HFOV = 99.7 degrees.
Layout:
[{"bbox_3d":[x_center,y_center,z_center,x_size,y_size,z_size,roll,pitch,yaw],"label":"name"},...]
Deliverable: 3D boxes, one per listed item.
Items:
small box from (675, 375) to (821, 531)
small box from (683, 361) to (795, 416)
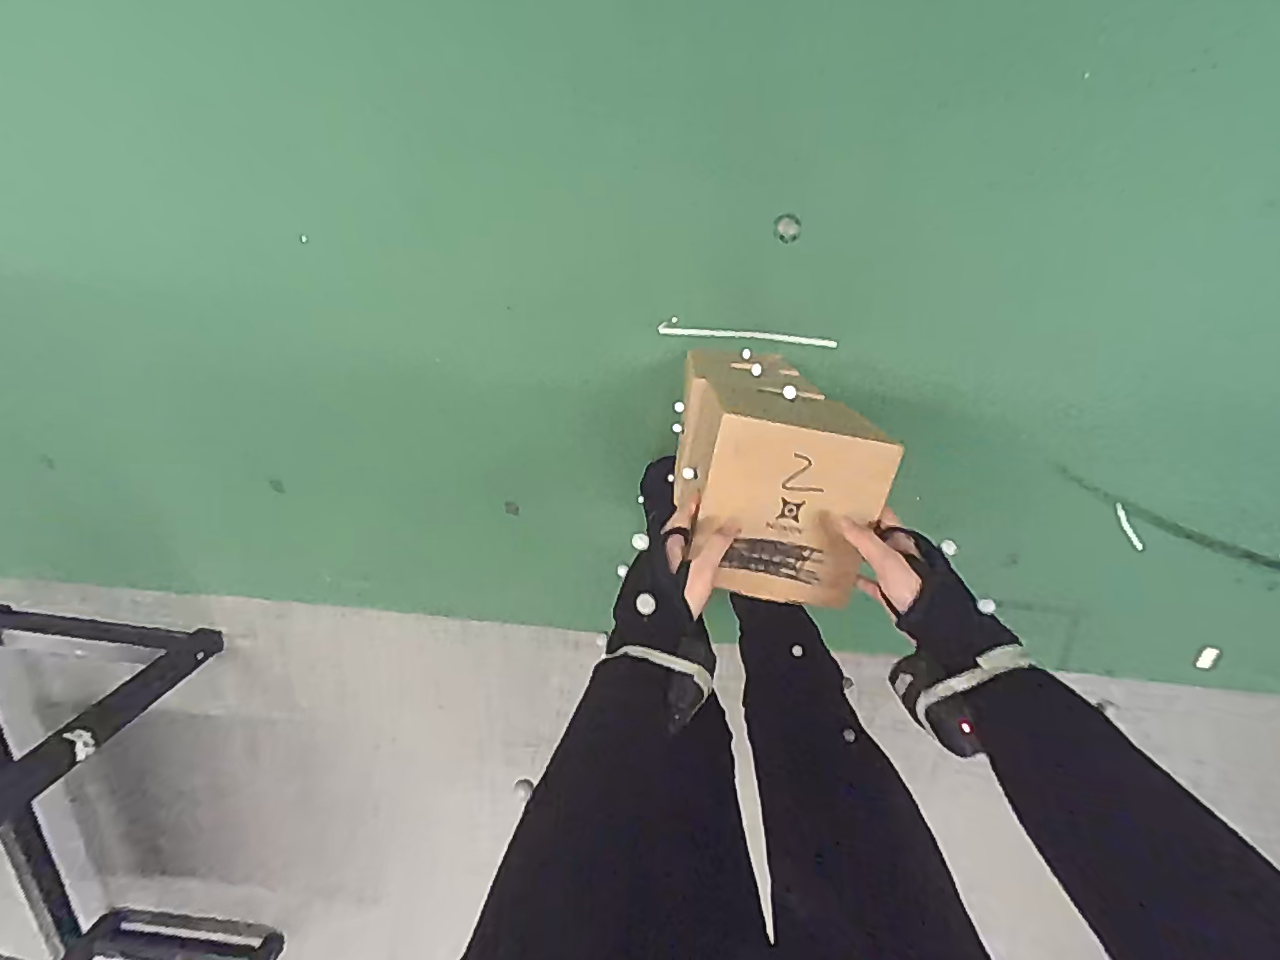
[{"bbox_3d":[0.142,-0.048,0.775,0.168,0.176,0.179,7,110,3],"label":"small box"},{"bbox_3d":[0.159,-0.101,0.931,0.168,0.176,0.179,5,109,3],"label":"small box"}]
